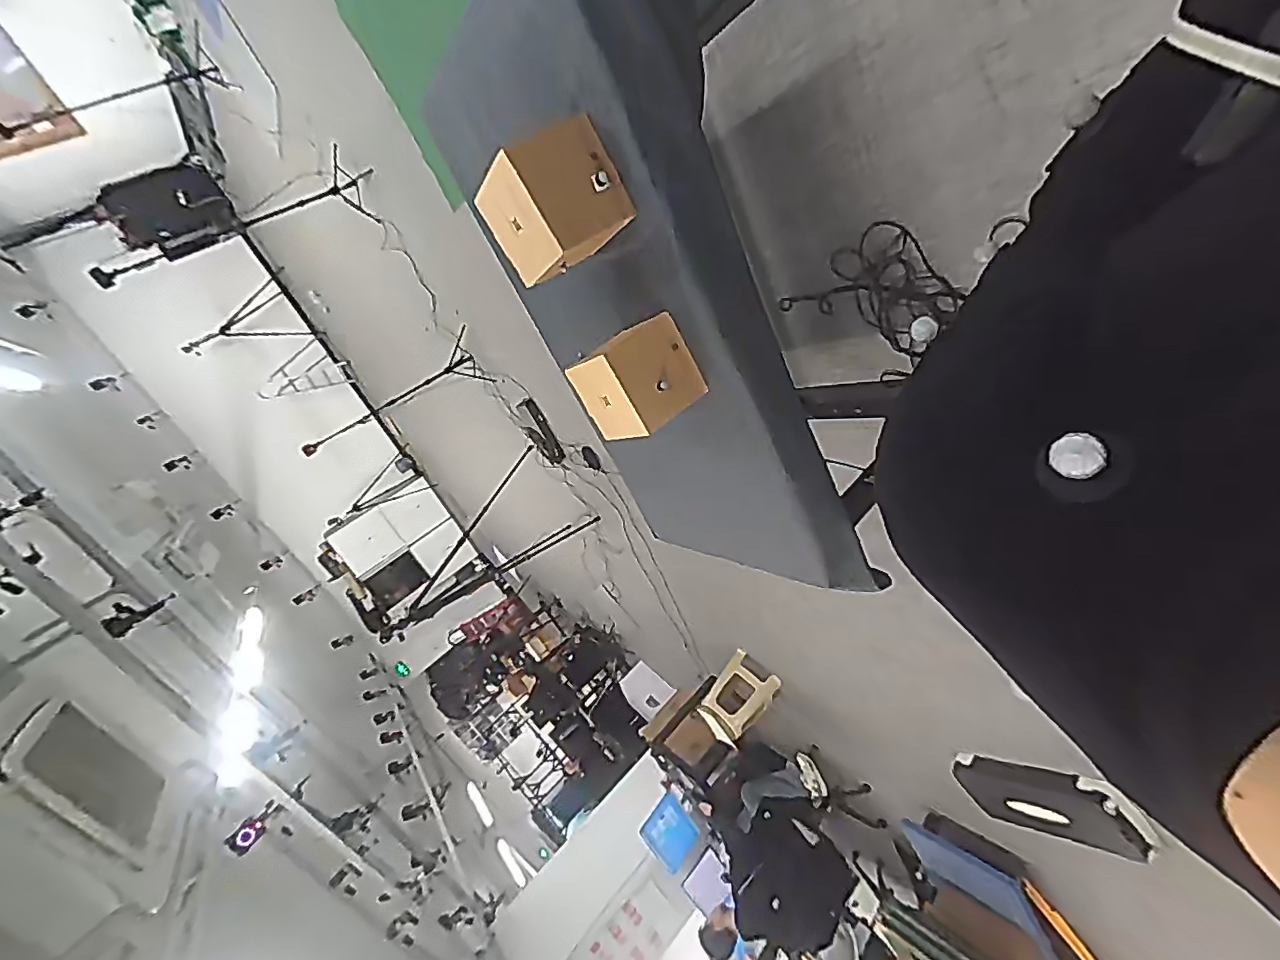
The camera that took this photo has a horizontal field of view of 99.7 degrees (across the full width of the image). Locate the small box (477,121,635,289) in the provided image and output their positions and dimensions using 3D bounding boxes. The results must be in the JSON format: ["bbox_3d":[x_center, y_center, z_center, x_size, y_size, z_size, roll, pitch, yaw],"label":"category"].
[{"bbox_3d":[-0.139,-0.452,0.902,0.168,0.176,0.179,57,154,-16],"label":"small box"}]

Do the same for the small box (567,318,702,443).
[{"bbox_3d":[-0.004,-0.188,1.037,0.179,0.176,0.168,1,126,60],"label":"small box"}]
